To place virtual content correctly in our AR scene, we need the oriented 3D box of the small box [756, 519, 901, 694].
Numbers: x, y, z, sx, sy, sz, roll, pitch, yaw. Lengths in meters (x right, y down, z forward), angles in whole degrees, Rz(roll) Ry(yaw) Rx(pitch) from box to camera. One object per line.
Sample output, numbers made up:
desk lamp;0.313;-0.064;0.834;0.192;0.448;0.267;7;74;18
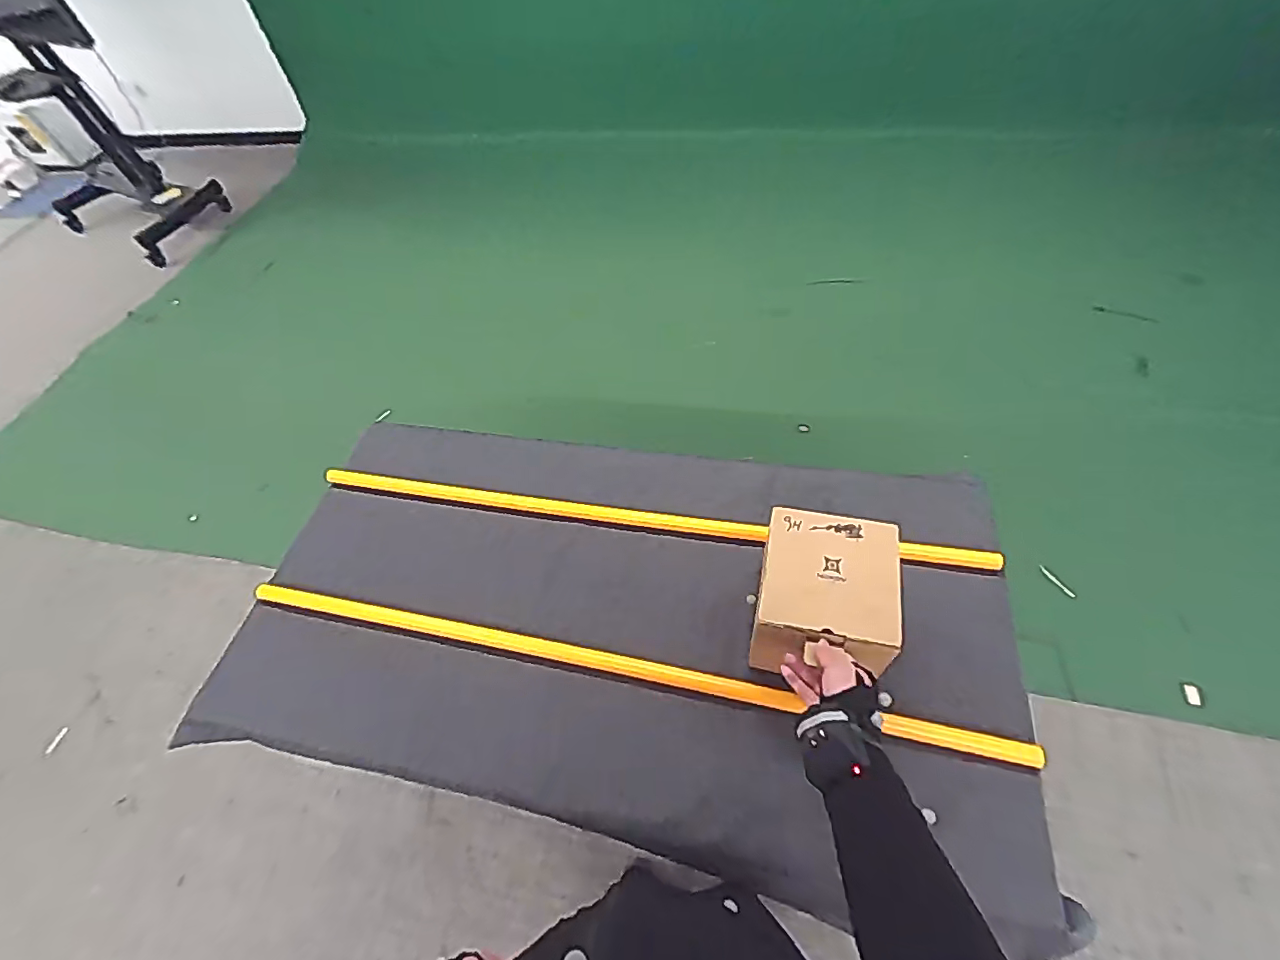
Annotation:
small box;0.252;0.179;0.753;0.168;0.176;0.179;5;52;13
